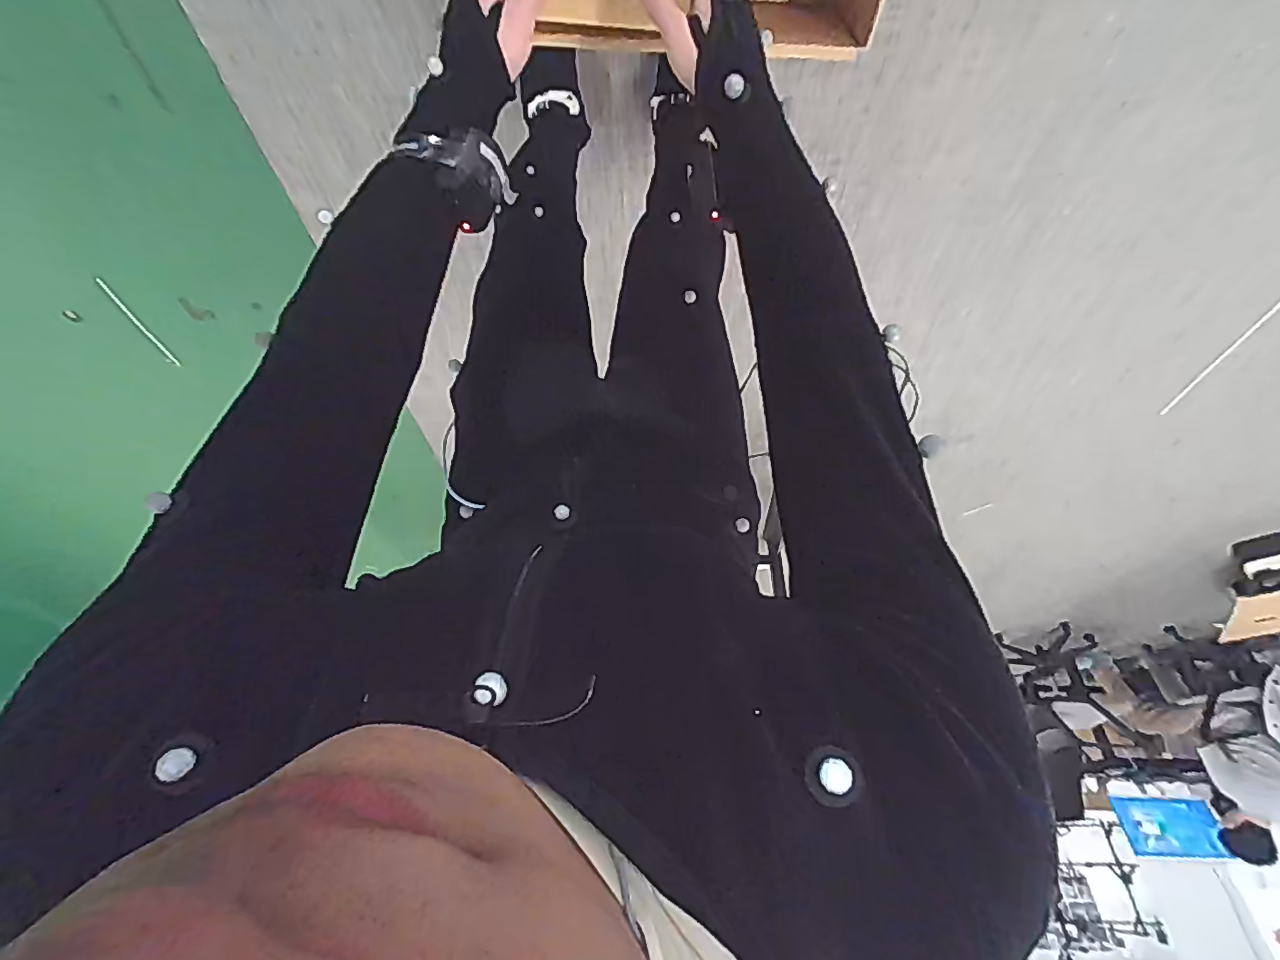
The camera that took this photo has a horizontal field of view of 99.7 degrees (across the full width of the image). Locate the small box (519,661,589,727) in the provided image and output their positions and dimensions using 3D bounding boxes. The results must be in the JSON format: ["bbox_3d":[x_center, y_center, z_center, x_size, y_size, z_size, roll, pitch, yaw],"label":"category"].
[{"bbox_3d":[-0.288,0.734,1.853,0.179,0.176,0.168,-22,140,29],"label":"small box"}]
